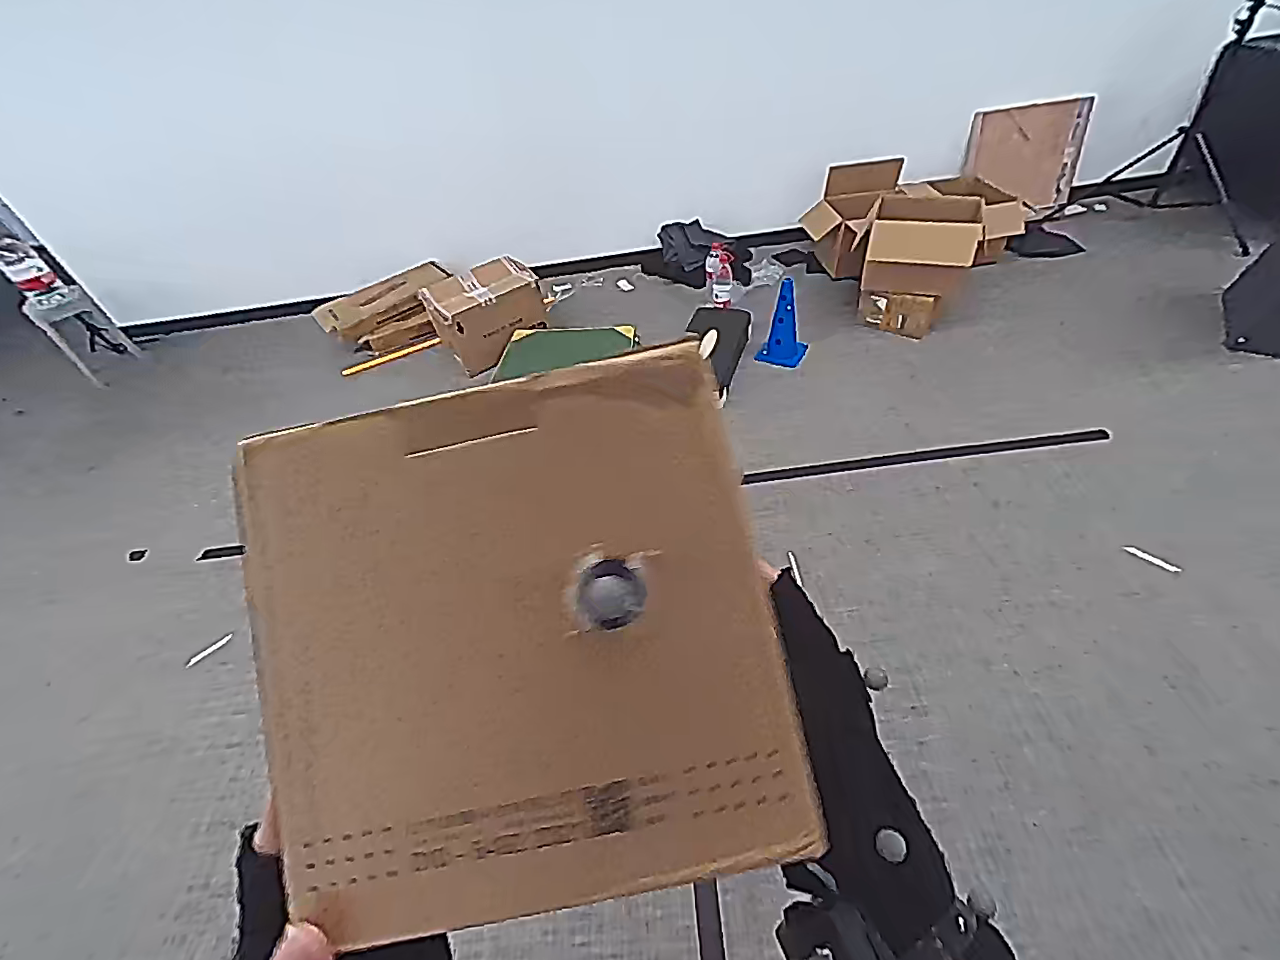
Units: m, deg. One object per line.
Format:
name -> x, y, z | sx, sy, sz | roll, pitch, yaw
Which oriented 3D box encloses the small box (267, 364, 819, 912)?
small box -> -0.031, 0.066, 0.260 | 0.168, 0.179, 0.176 | -11, 83, 0
